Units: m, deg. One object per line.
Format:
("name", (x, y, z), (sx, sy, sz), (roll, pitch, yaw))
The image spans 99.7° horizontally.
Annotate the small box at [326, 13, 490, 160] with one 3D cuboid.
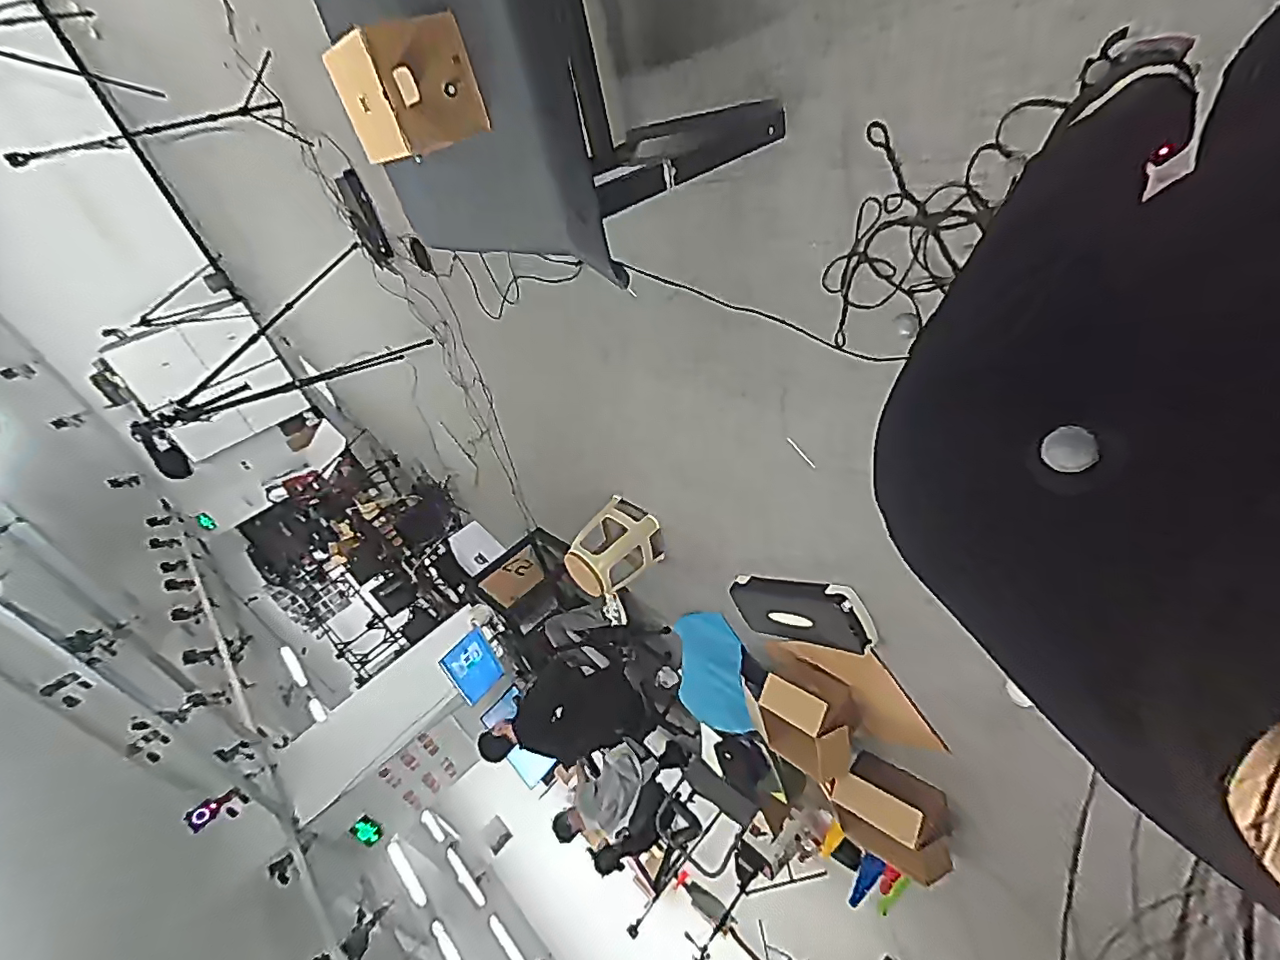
("small box", (-0.388, -0.663, 0.920), (0.179, 0.176, 0.168), (21, 139, 41))
